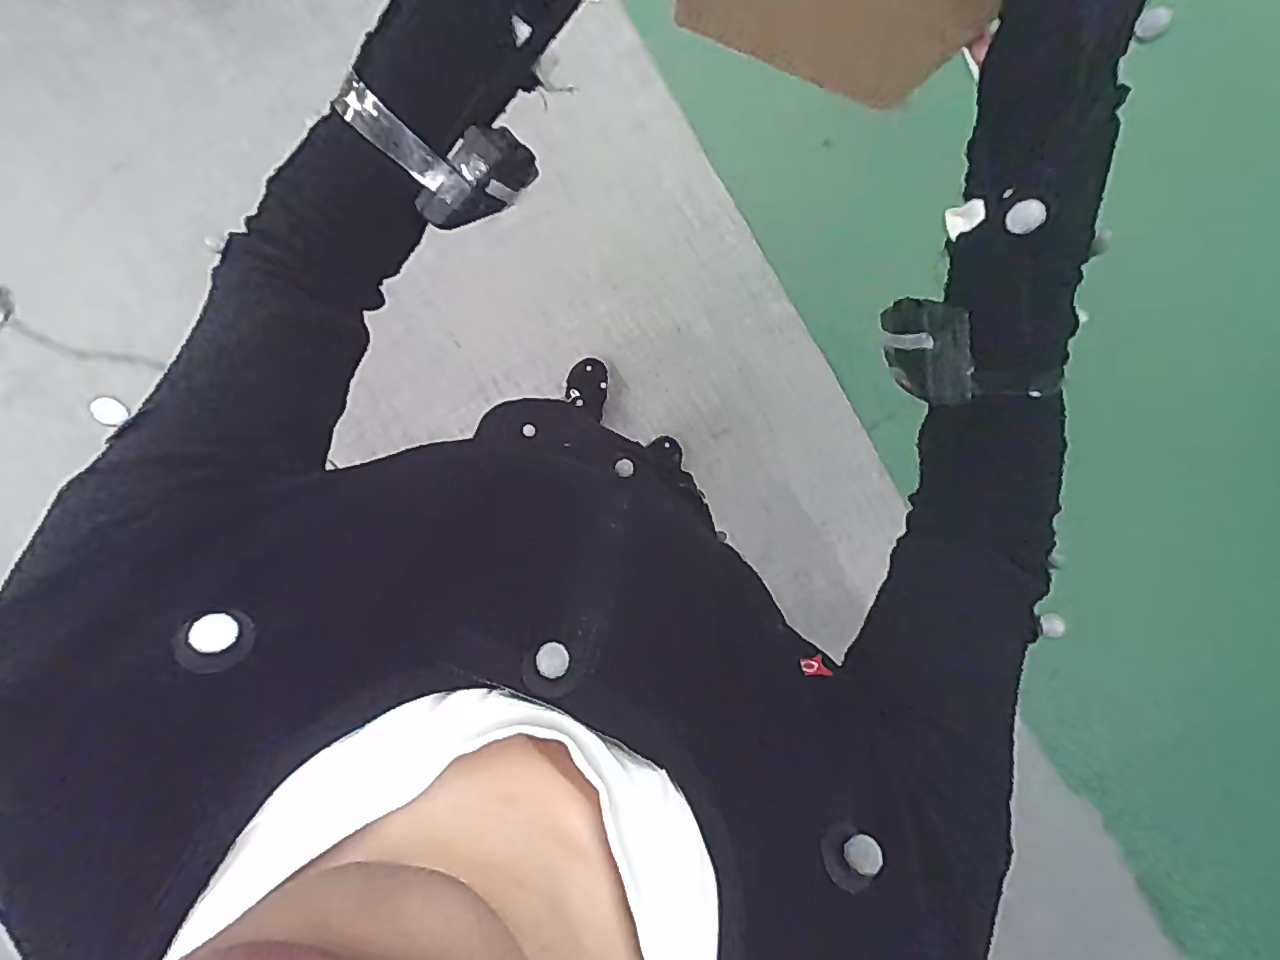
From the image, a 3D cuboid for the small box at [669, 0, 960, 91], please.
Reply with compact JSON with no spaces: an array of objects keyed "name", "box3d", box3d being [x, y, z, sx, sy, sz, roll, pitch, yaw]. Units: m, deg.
[{"name":"small box","box3d":[0.122,-0.362,0.302,0.179,0.176,0.168,18,104,-5]}]
